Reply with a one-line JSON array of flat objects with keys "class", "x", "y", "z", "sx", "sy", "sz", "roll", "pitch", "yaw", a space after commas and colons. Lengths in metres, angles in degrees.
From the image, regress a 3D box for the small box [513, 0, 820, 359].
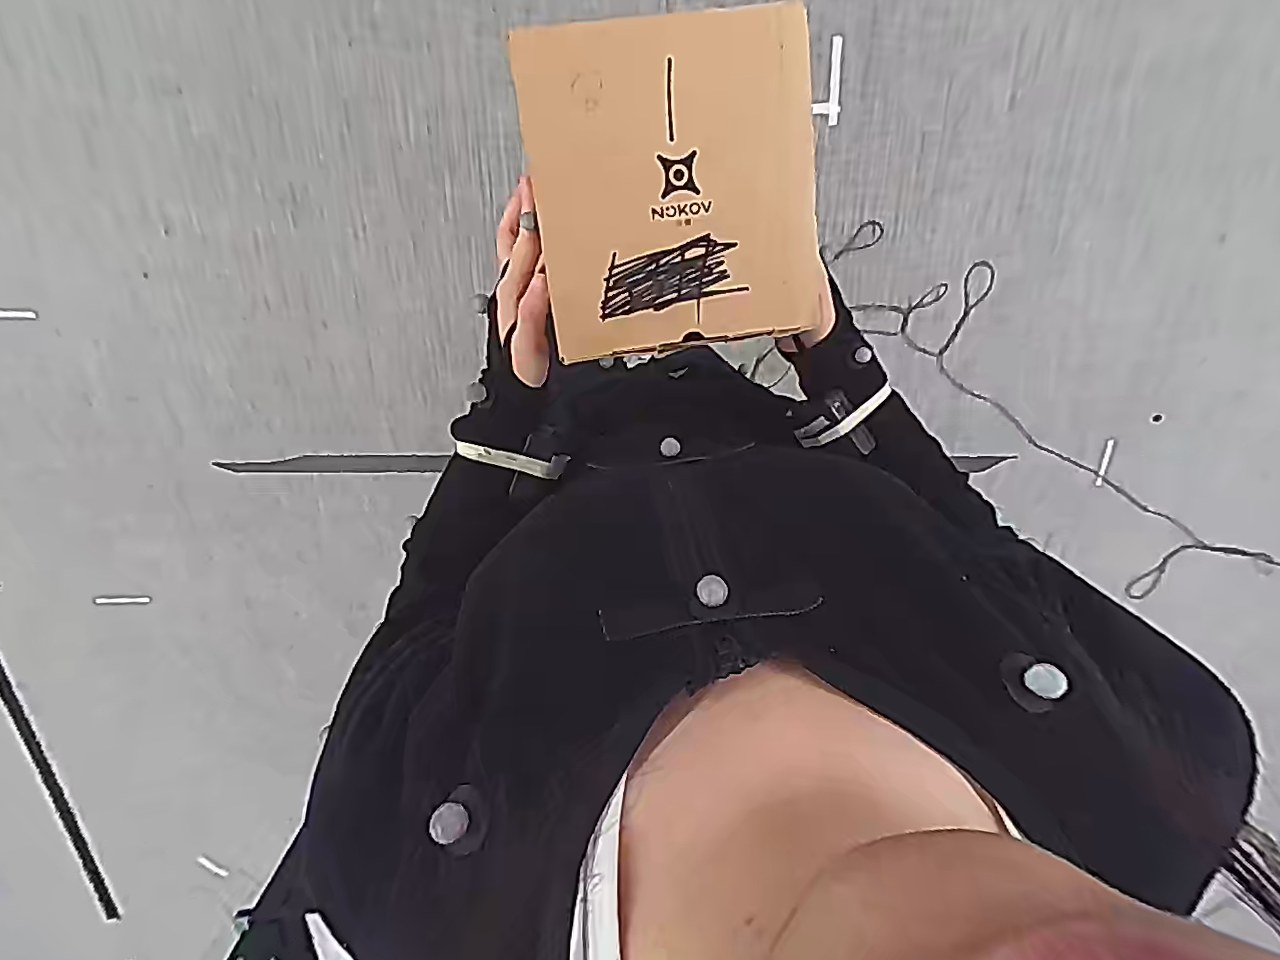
[{"class": "small box", "x": 0.015, "y": -0.189, "z": 0.388, "sx": 0.168, "sy": 0.176, "sz": 0.179, "roll": -9, "pitch": 105, "yaw": -4}]
